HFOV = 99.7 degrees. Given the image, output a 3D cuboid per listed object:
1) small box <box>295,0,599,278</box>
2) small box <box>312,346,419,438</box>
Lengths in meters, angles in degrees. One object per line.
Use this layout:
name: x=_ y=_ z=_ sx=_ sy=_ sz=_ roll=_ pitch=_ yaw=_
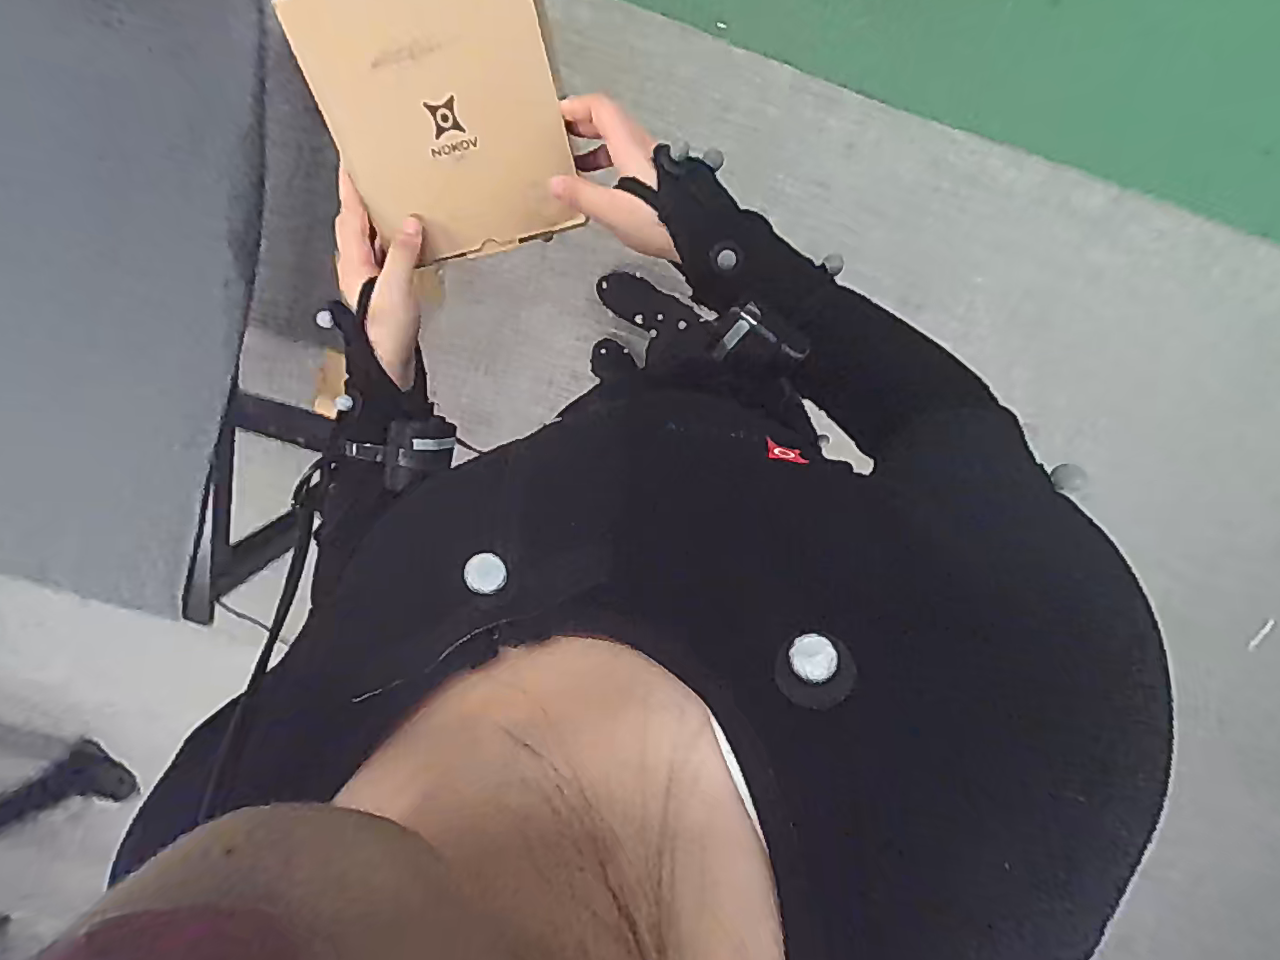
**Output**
small box: x=-0.131 y=-0.293 z=0.453 sx=0.168 sy=0.176 sz=0.179 roll=-12 pitch=123 yaw=3
small box: x=-0.693 y=-0.232 z=1.382 sx=0.179 sy=0.176 sz=0.168 roll=21 pitch=110 yaw=-4
